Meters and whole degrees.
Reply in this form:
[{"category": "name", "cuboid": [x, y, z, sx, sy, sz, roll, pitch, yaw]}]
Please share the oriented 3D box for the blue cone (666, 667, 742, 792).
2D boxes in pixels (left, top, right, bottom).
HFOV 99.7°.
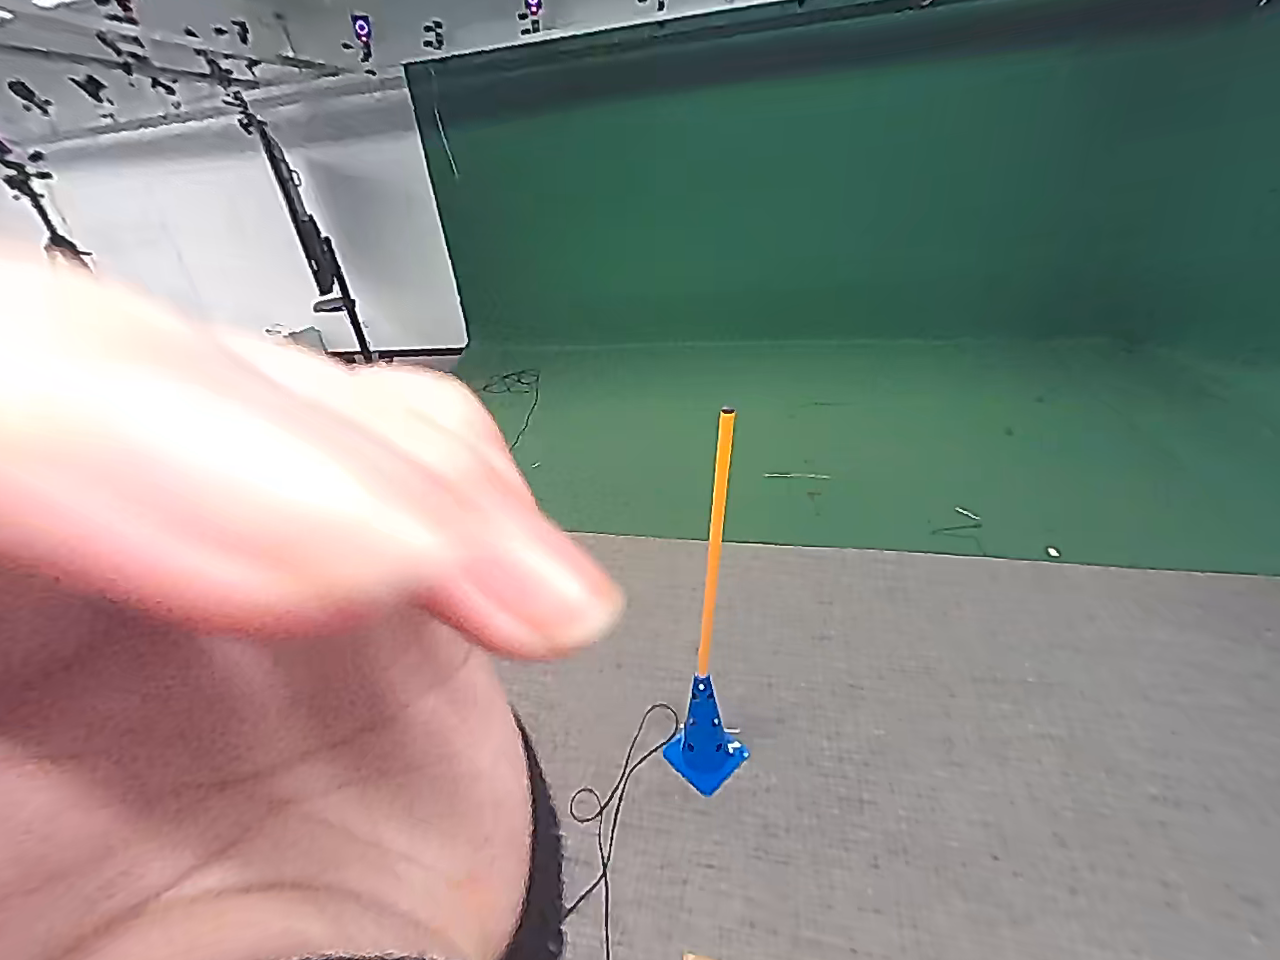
[{"category": "blue cone", "cuboid": [0.183, 0.679, 1.556, 0.193, 0.380, 0.192, -28, 37, -36]}]
